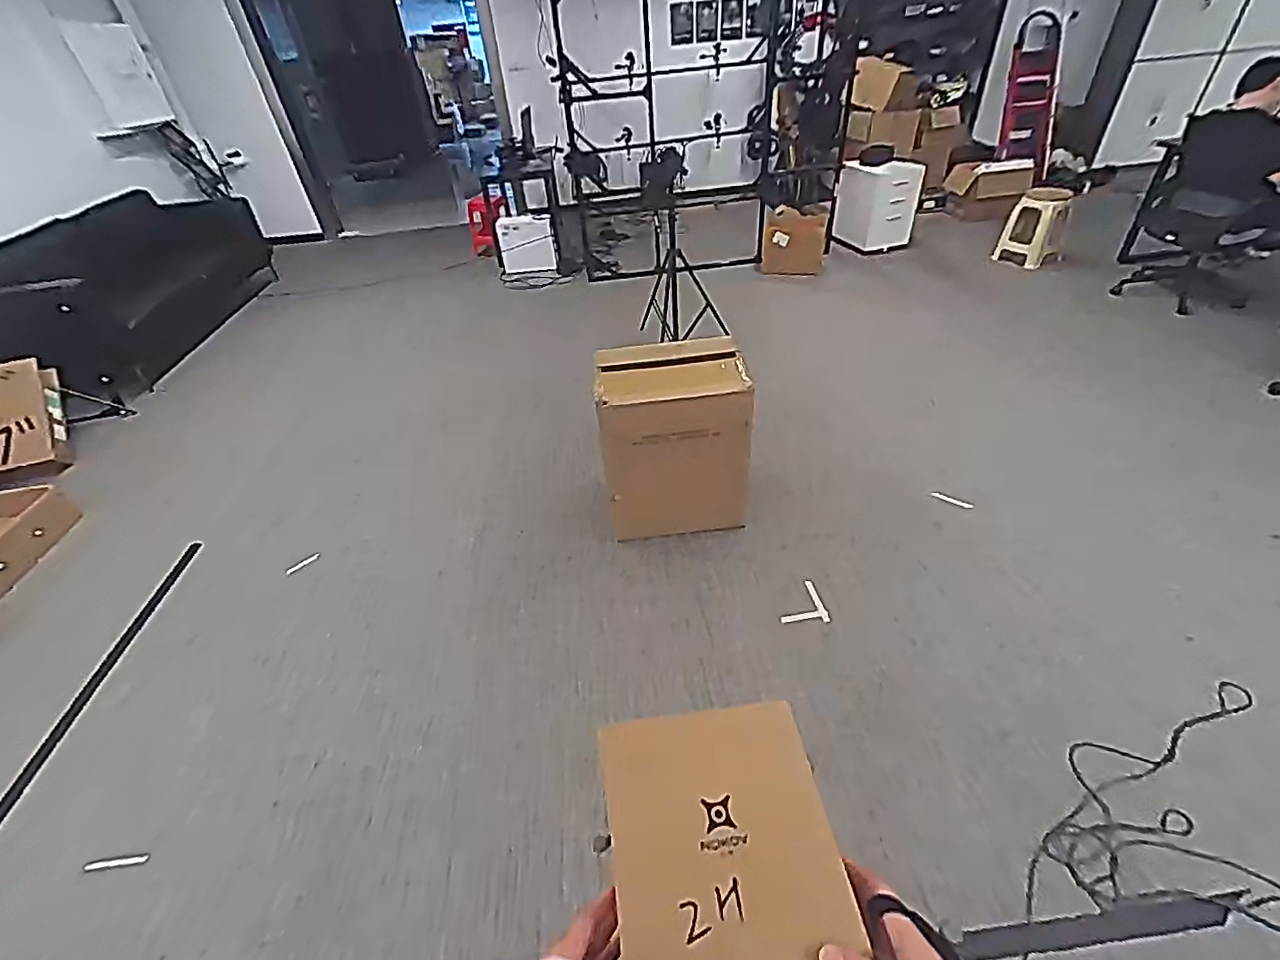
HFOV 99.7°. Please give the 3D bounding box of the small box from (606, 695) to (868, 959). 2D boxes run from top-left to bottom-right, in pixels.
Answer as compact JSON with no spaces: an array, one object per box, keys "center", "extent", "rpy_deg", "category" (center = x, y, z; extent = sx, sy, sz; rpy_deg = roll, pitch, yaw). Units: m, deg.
[{"center":[0.061,0.314,0.465],"extent":[0.168,0.176,0.179],"rpy_deg":[-6,45,-5],"category":"small box"}]
